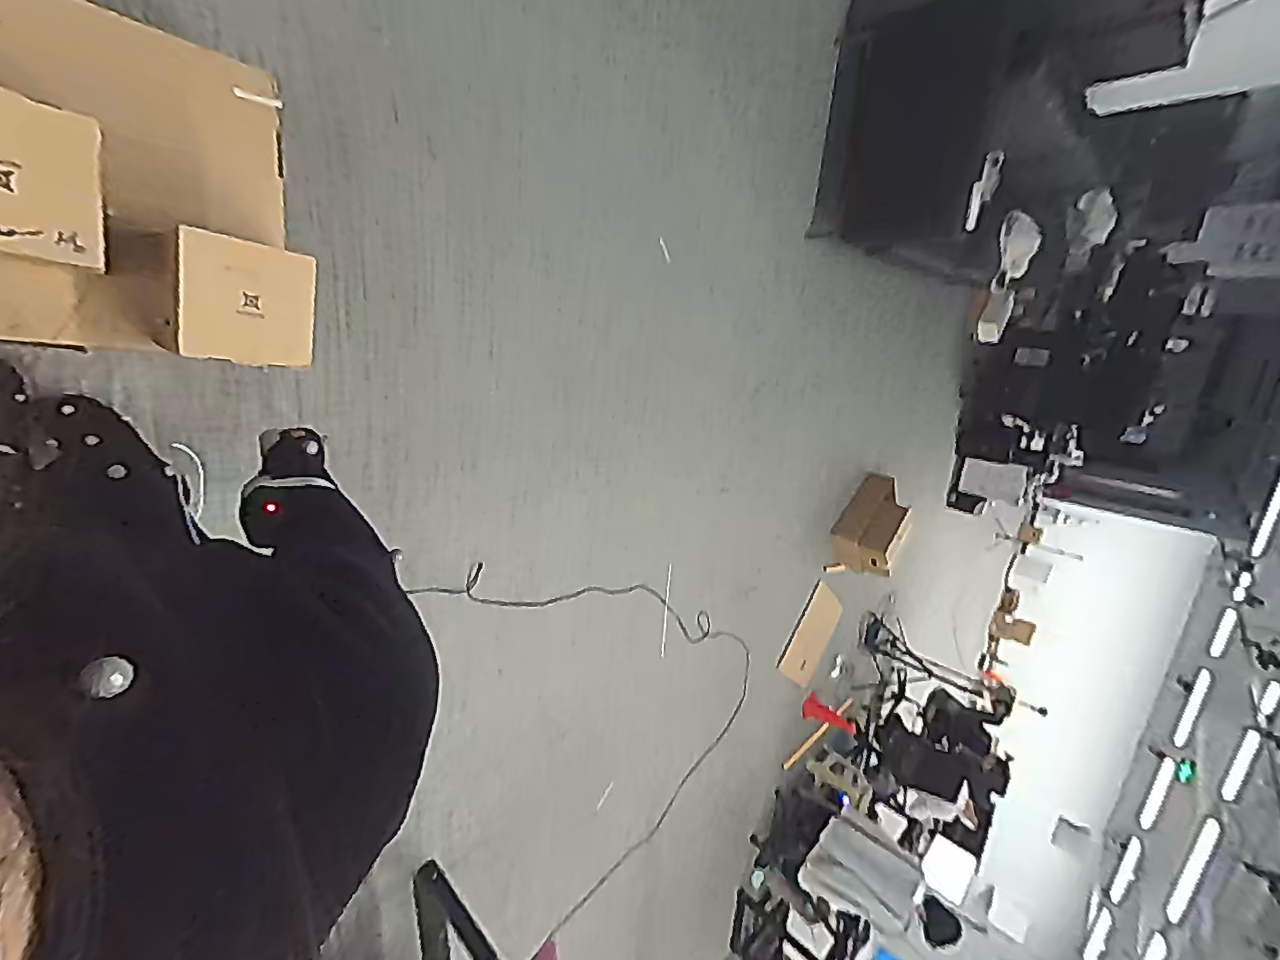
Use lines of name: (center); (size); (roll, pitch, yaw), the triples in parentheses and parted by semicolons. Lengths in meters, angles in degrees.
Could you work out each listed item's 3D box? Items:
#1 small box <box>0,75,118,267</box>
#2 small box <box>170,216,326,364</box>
small box: (-0.758, -0.373, 0.661); (0.168, 0.176, 0.179); (-2, 104, -45)
small box: (-0.612, -0.287, 0.843); (0.168, 0.176, 0.179); (-2, 104, -47)
